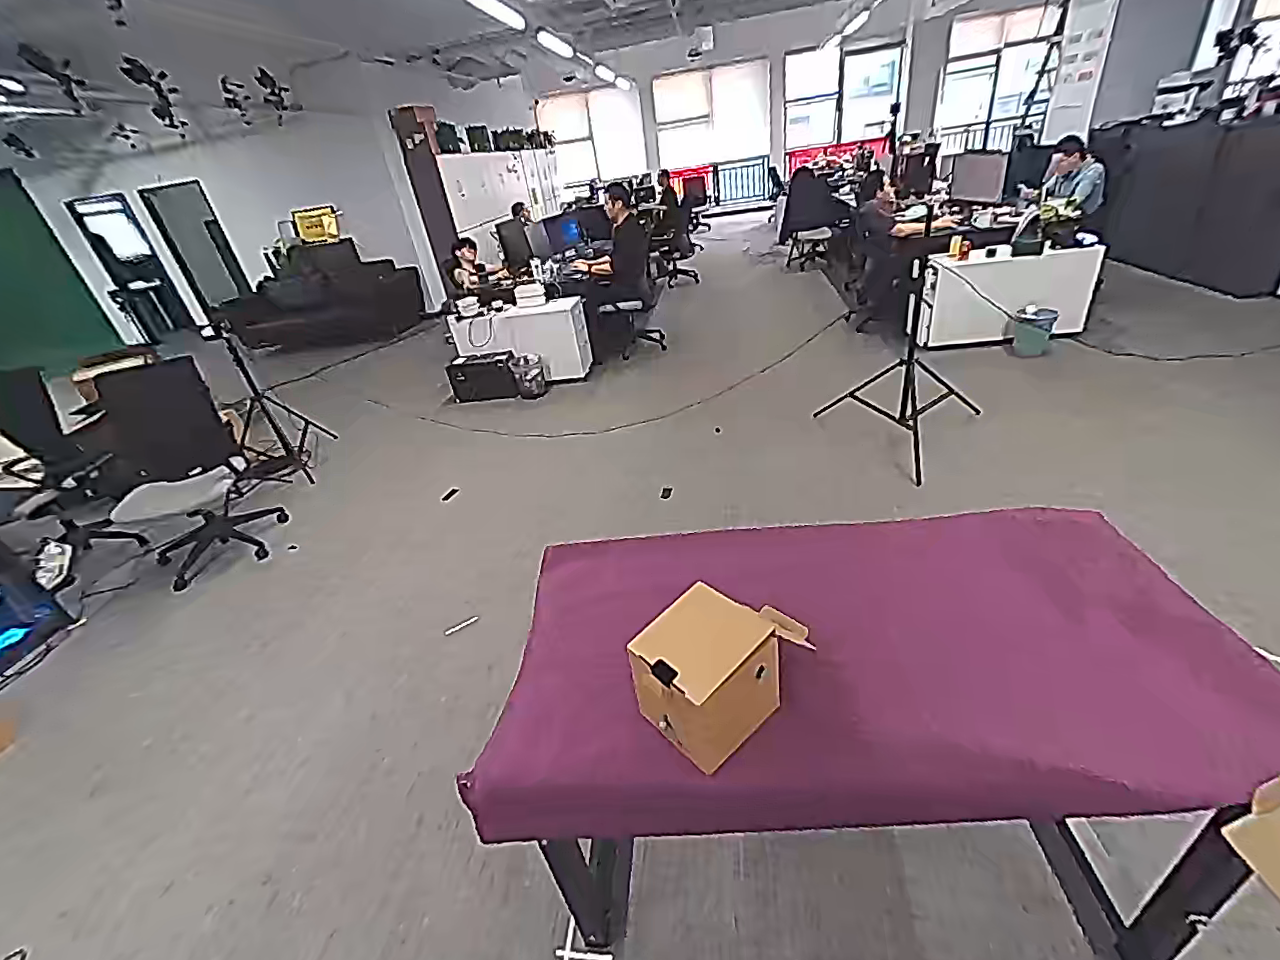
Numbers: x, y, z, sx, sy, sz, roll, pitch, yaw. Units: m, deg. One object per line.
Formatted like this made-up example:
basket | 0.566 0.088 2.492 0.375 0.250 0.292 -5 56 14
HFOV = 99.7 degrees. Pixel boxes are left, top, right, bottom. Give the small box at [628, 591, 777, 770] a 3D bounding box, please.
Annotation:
small box | 0.105 0.321 0.885 0.179 0.176 0.168 -29 34 -30
